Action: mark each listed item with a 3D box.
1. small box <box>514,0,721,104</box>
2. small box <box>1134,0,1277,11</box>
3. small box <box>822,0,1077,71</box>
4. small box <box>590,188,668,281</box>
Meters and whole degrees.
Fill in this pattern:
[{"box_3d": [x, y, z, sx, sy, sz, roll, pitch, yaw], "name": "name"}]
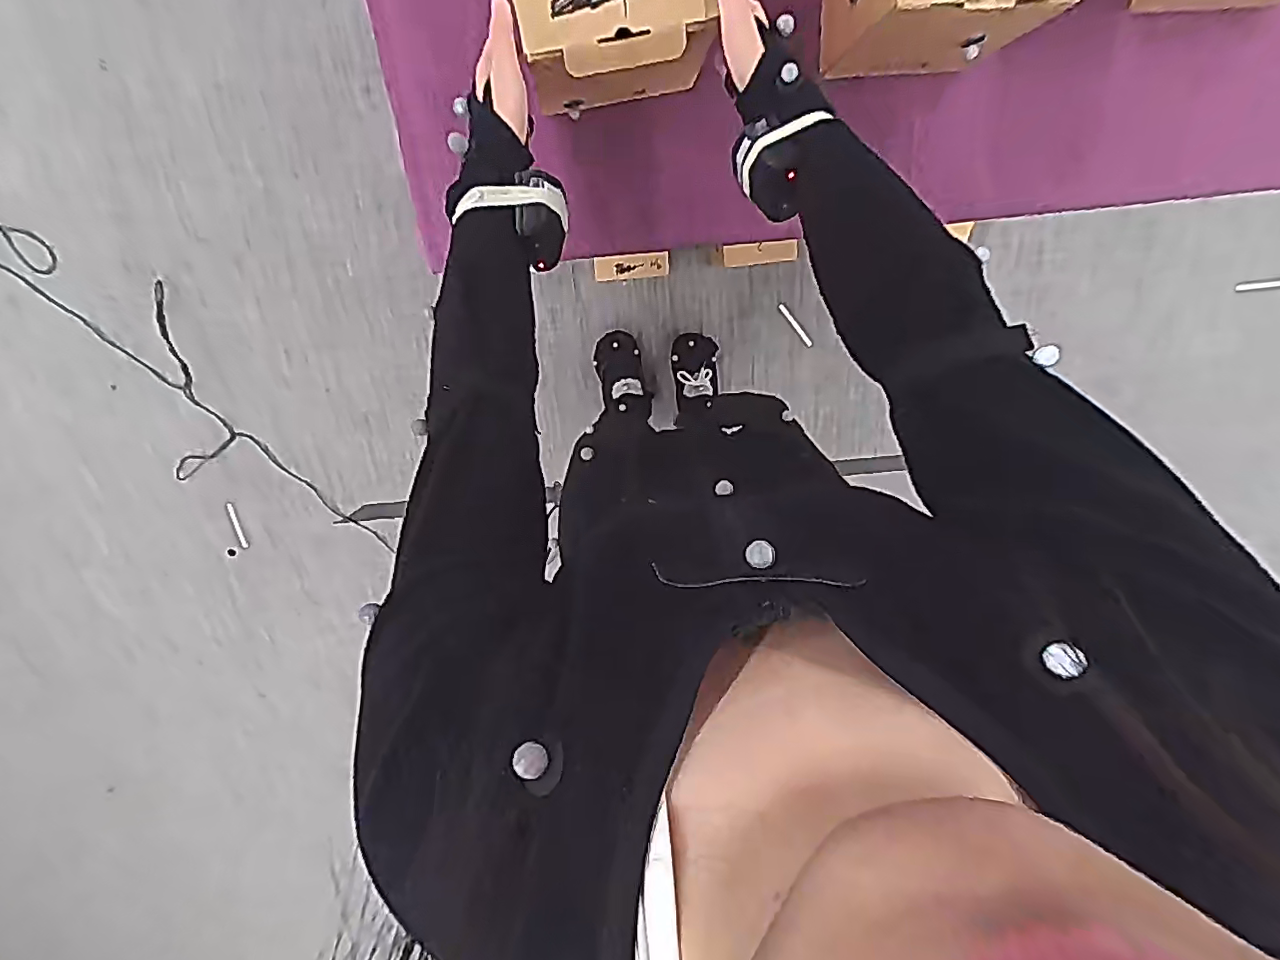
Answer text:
[{"box_3d": [-0.031, -0.464, 0.483, 0.168, 0.176, 0.179, -11, 110, 0], "name": "small box"}, {"box_3d": [0.621, -0.564, 0.491, 0.179, 0.176, 0.168, -4, 111, -2], "name": "small box"}, {"box_3d": [0.278, -0.502, 0.493, 0.168, 0.176, 0.179, -6, 110, -3], "name": "small box"}, {"box_3d": [-0.028, -0.554, 1.236, 0.168, 0.176, 0.179, -4, 110, -2], "name": "small box"}]
